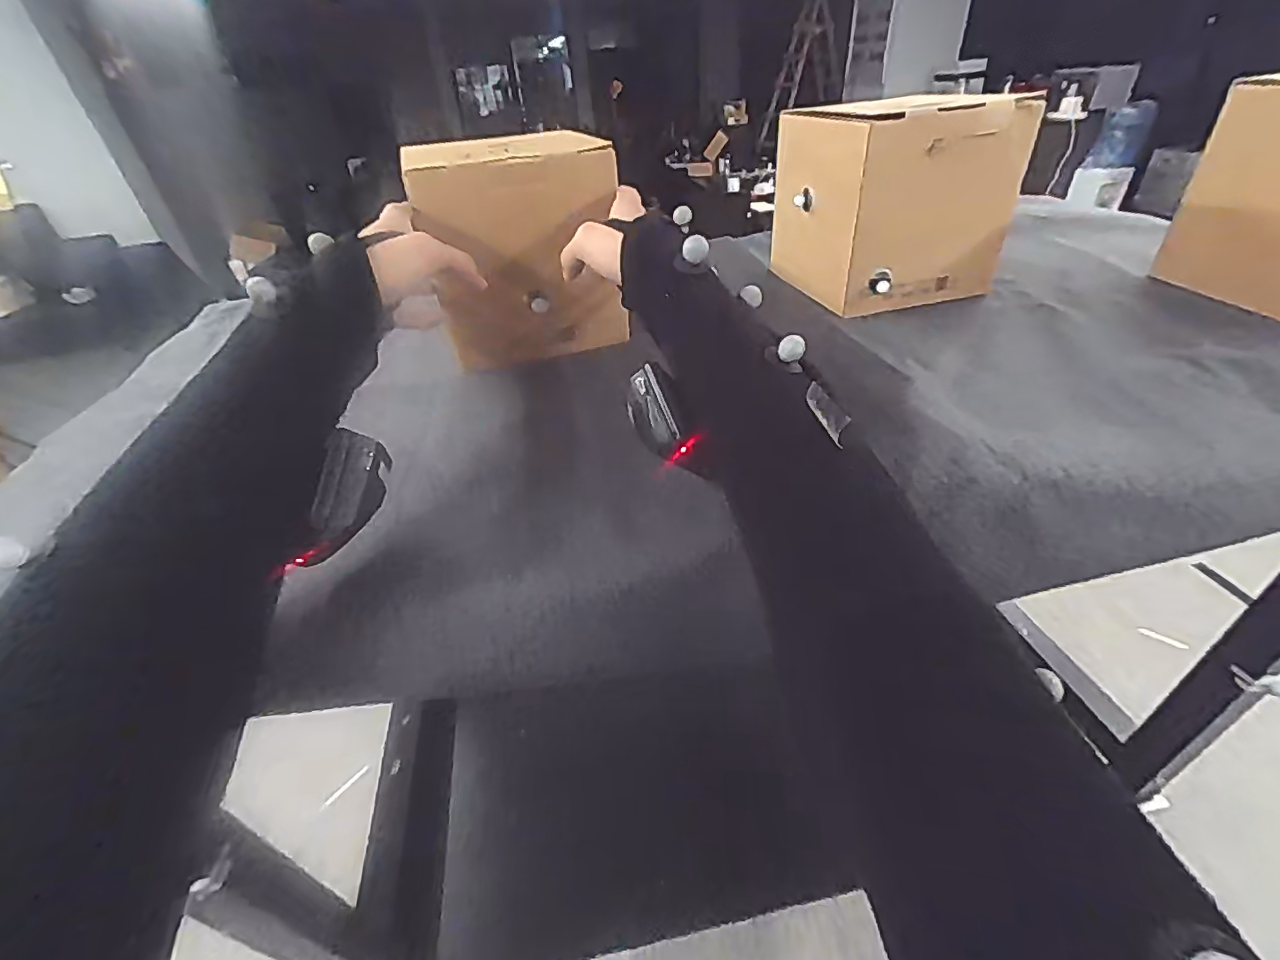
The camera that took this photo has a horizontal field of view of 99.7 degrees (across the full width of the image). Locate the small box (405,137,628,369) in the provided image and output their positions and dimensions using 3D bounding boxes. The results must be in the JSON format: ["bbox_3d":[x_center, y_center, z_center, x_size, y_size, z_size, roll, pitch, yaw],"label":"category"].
[{"bbox_3d":[-0.117,-0.226,0.526,0.168,0.176,0.179,-15,37,-13],"label":"small box"}]

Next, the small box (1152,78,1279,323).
[{"bbox_3d":[0.604,-0.236,0.451,0.168,0.176,0.179,-8,37,-2],"label":"small box"}]

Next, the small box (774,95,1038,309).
[{"bbox_3d":[0.253,-0.288,0.565,0.168,0.176,0.179,-12,37,-8],"label":"small box"}]
